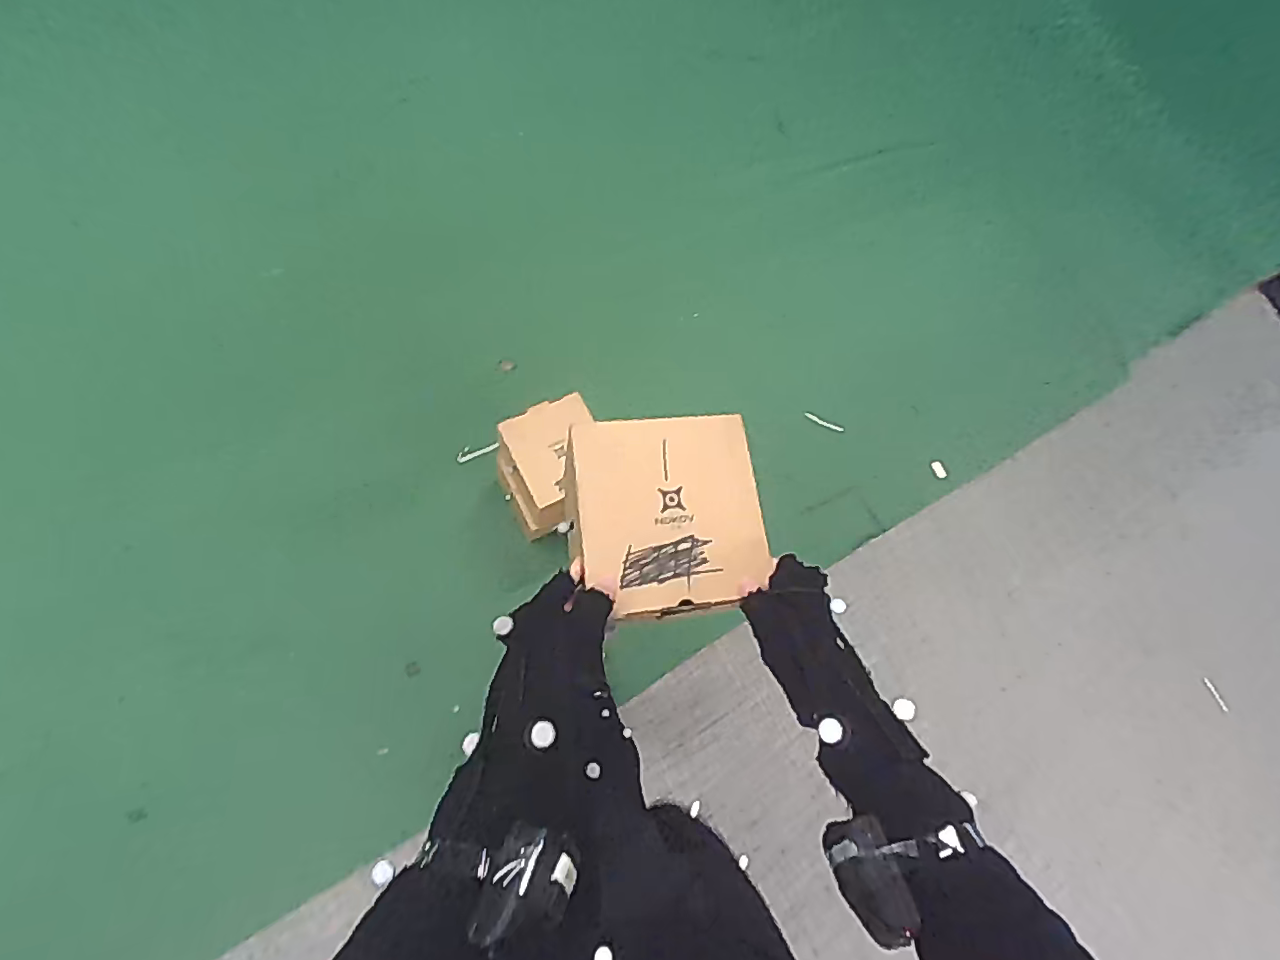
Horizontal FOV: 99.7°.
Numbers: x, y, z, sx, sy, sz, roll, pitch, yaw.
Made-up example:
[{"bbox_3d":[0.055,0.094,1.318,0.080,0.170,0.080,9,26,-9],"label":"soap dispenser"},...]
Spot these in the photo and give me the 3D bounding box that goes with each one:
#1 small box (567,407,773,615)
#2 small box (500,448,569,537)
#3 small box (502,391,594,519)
[{"bbox_3d":[0.015,0.041,0.554,0.168,0.176,0.179,-4,73,-12],"label":"small box"},{"bbox_3d":[-0.196,0.007,1.183,0.168,0.176,0.179,-23,82,-16],"label":"small box"},{"bbox_3d":[-0.158,-0.039,1.050,0.168,0.176,0.179,-25,81,-18],"label":"small box"}]
